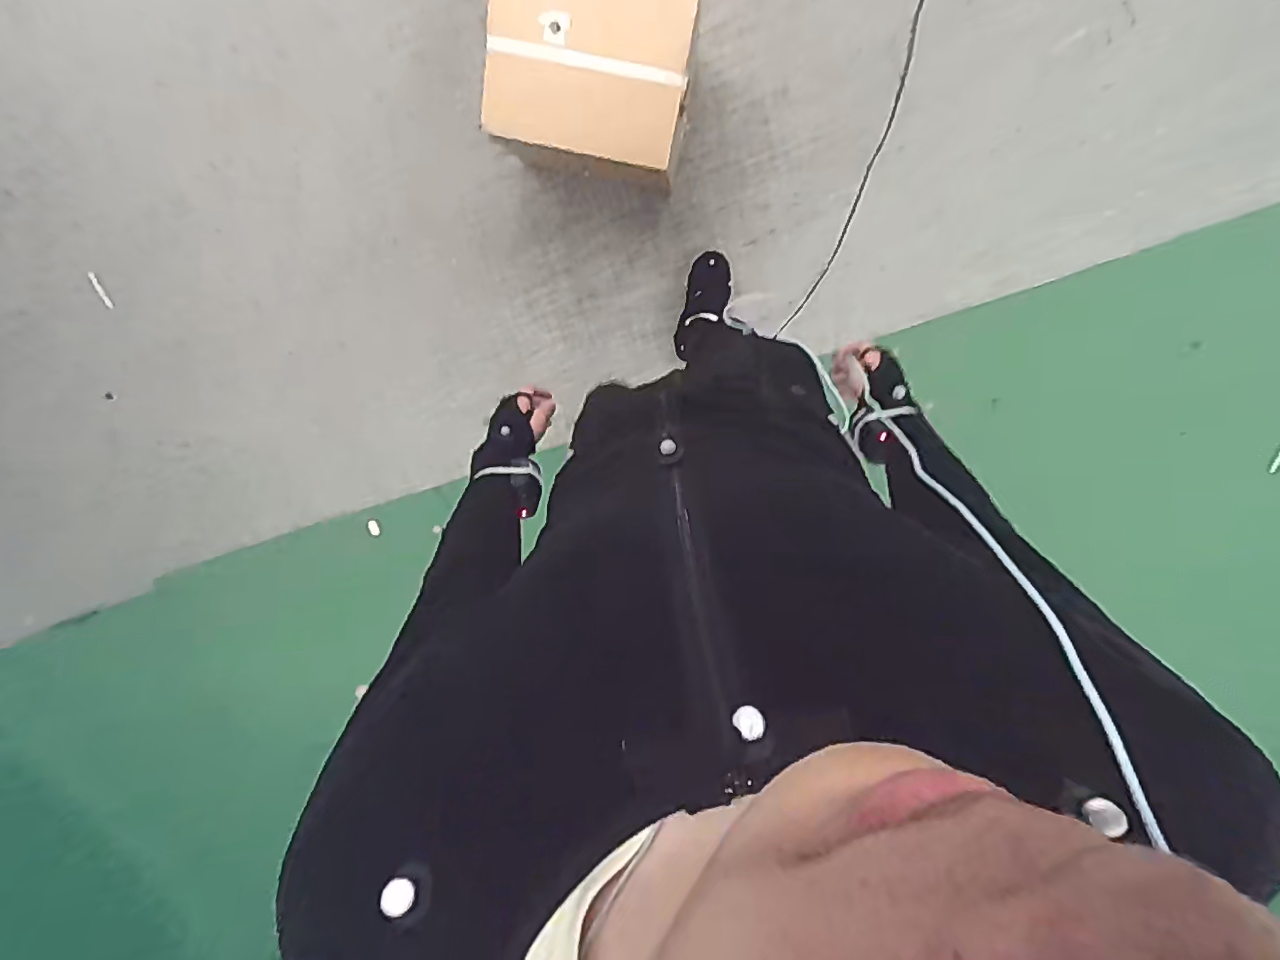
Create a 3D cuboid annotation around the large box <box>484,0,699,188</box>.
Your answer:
[{"bbox_3d":[-0.092,-0.880,1.218,0.408,0.320,0.320,12,110,2],"label":"large box"}]
